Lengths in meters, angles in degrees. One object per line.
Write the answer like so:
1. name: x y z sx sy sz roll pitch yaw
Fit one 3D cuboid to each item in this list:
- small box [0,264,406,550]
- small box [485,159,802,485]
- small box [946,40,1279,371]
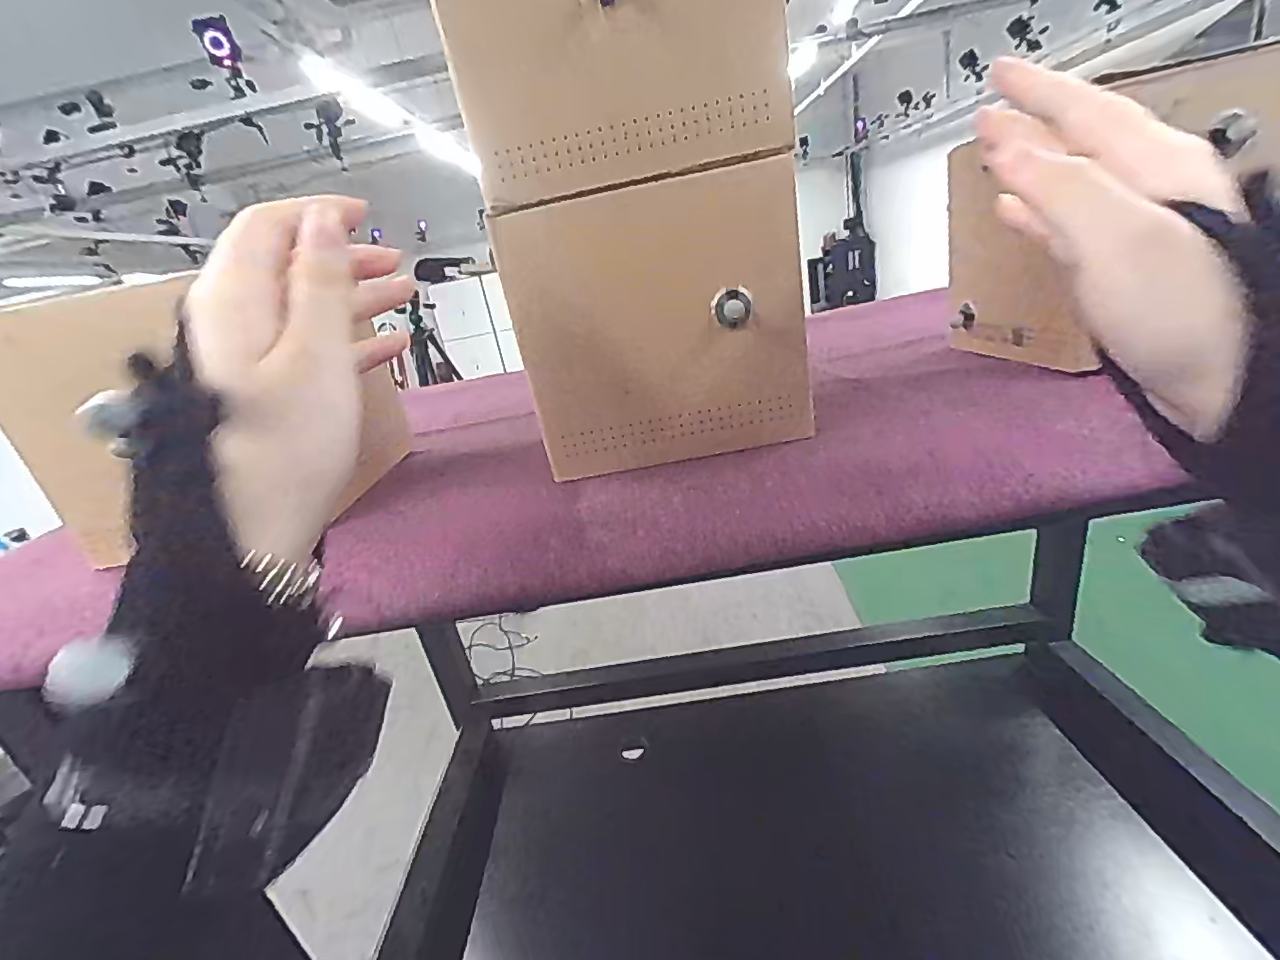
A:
1. small box: -0.305 -0.057 0.409 0.168 0.176 0.179 -9 22 2
2. small box: 0.012 -0.112 0.398 0.179 0.176 0.168 -11 21 3
3. small box: 0.354 -0.183 0.395 0.179 0.176 0.168 -10 20 5
